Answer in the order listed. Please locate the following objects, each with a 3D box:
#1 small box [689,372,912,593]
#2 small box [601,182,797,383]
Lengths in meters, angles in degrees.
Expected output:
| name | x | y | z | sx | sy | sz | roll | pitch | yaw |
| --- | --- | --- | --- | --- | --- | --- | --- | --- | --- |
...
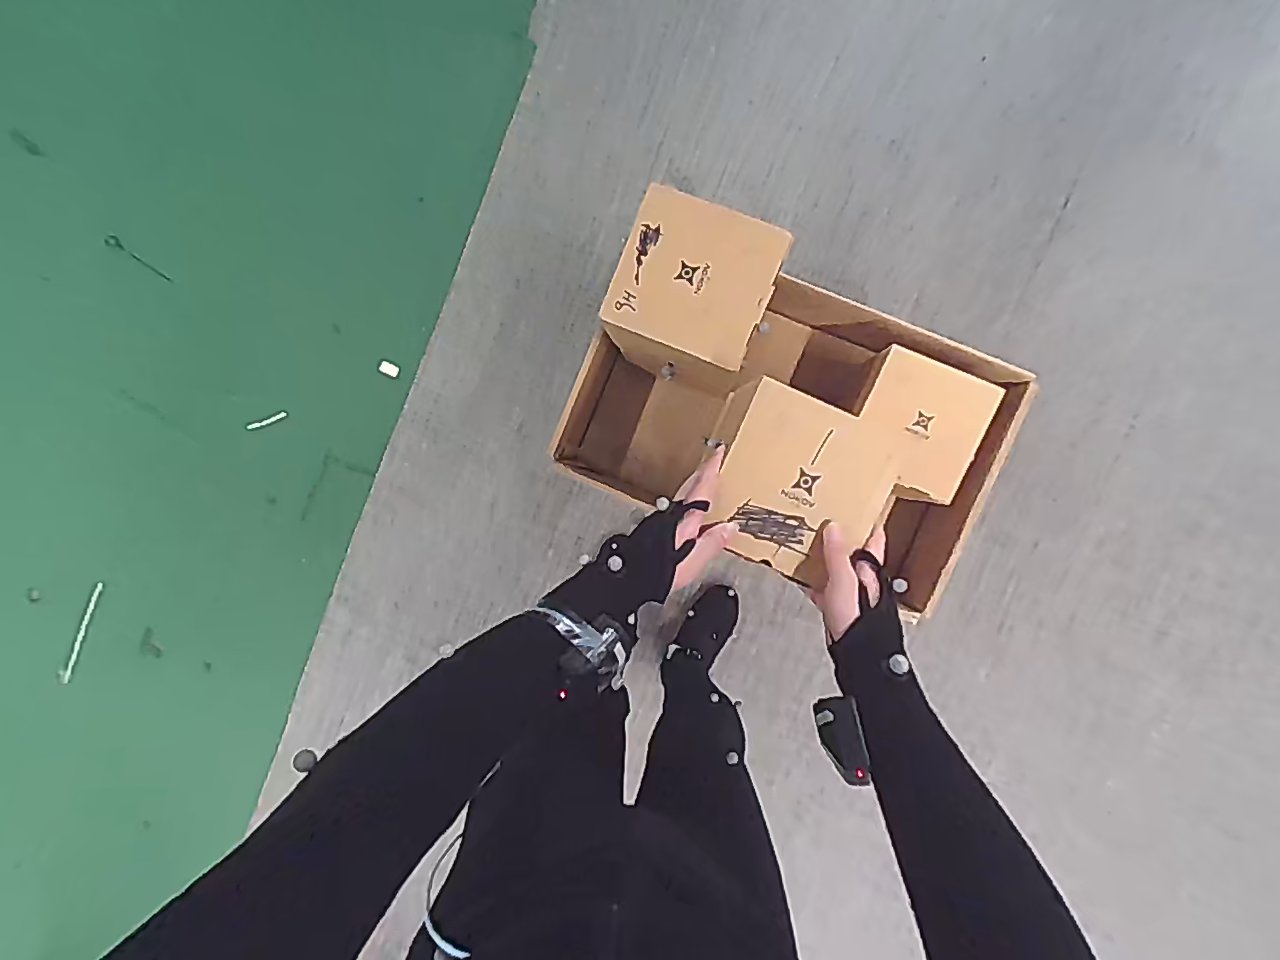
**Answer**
| name | x | y | z | sx | sy | sz | roll | pitch | yaw |
| --- | --- | --- | --- | --- | --- | --- | --- | --- | --- |
| small box | 0.163 | -0.002 | 0.616 | 0.168 | 0.176 | 0.179 | 24 | 94 | -1 |
| small box | 0.071 | -0.233 | 0.688 | 0.179 | 0.176 | 0.168 | 23 | 94 | 3 |
